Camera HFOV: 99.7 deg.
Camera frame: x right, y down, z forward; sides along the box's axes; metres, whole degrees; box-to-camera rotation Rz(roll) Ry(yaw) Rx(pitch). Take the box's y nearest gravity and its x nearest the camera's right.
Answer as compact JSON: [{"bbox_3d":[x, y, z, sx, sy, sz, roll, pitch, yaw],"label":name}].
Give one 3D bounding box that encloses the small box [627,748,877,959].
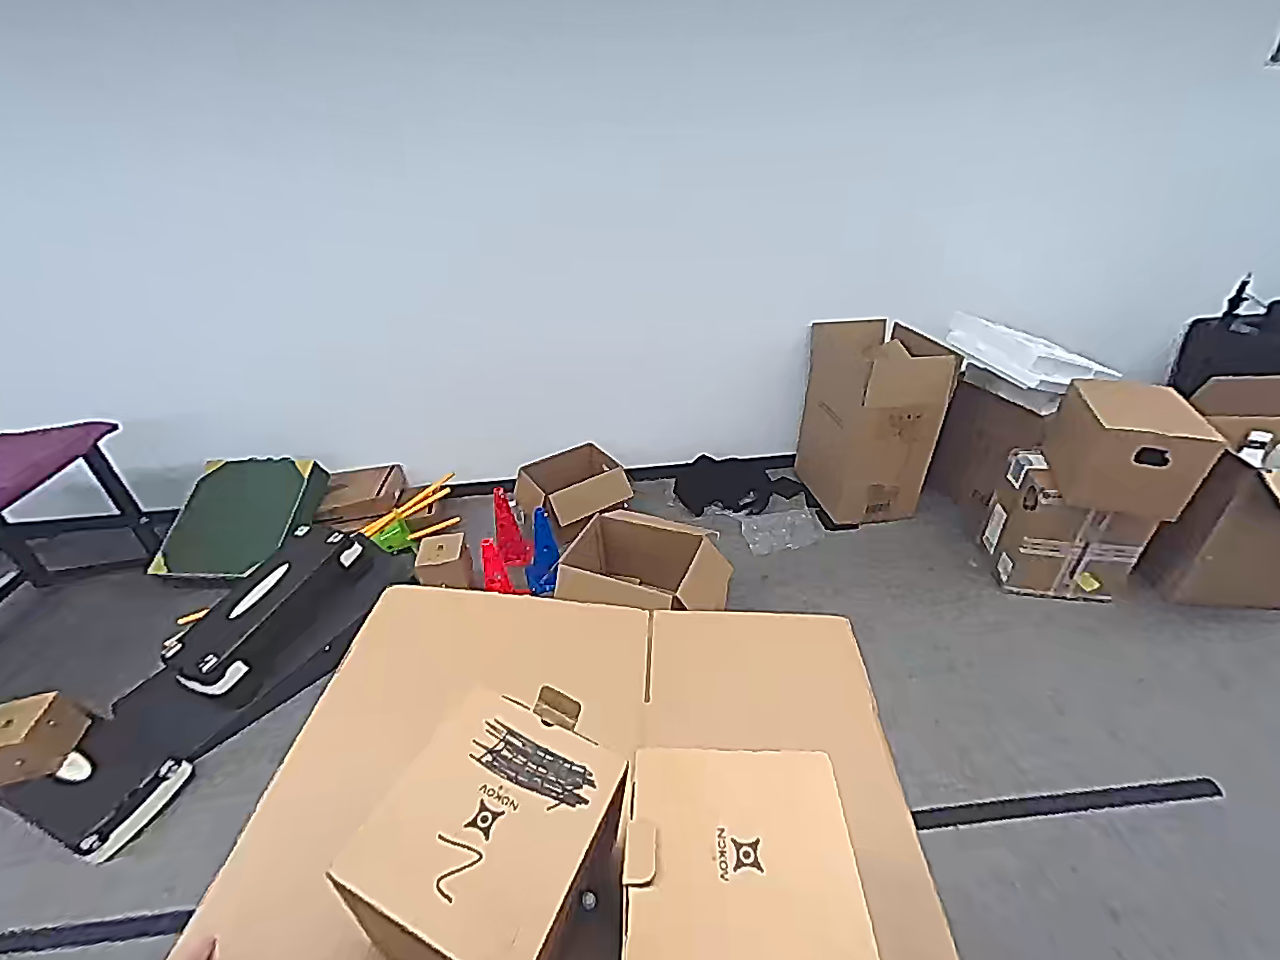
[{"bbox_3d":[0.083,0.361,0.475,0.179,0.176,0.168,-1,35,3],"label":"small box"}]
